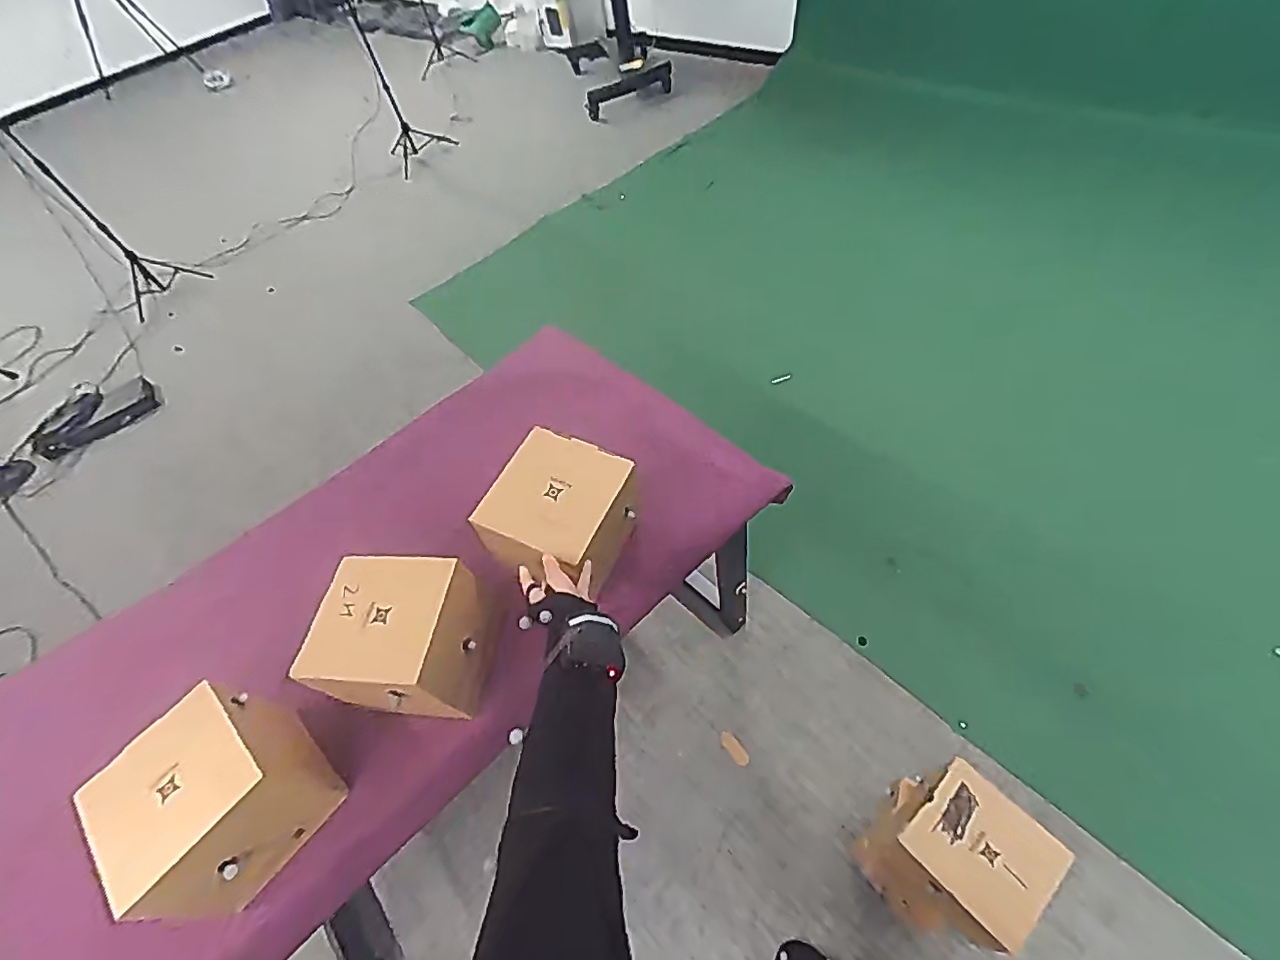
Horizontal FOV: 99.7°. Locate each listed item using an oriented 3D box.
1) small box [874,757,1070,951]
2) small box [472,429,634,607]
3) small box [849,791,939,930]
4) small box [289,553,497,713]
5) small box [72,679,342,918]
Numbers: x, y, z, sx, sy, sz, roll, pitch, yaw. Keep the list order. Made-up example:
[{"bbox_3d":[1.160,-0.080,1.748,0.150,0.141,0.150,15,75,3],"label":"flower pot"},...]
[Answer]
[{"bbox_3d":[0.496,0.573,0.839,0.168,0.176,0.179,-38,58,-18],"label":"small box"},{"bbox_3d":[-0.117,0.060,0.812,0.168,0.176,0.179,20,59,16],"label":"small box"},{"bbox_3d":[0.549,0.767,1.100,0.179,0.176,0.168,-32,56,-12],"label":"small box"},{"bbox_3d":[-0.320,0.214,0.747,0.179,0.176,0.168,0,54,11],"label":"small box"},{"bbox_3d":[-0.512,0.383,0.662,0.179,0.176,0.168,30,64,29],"label":"small box"}]
